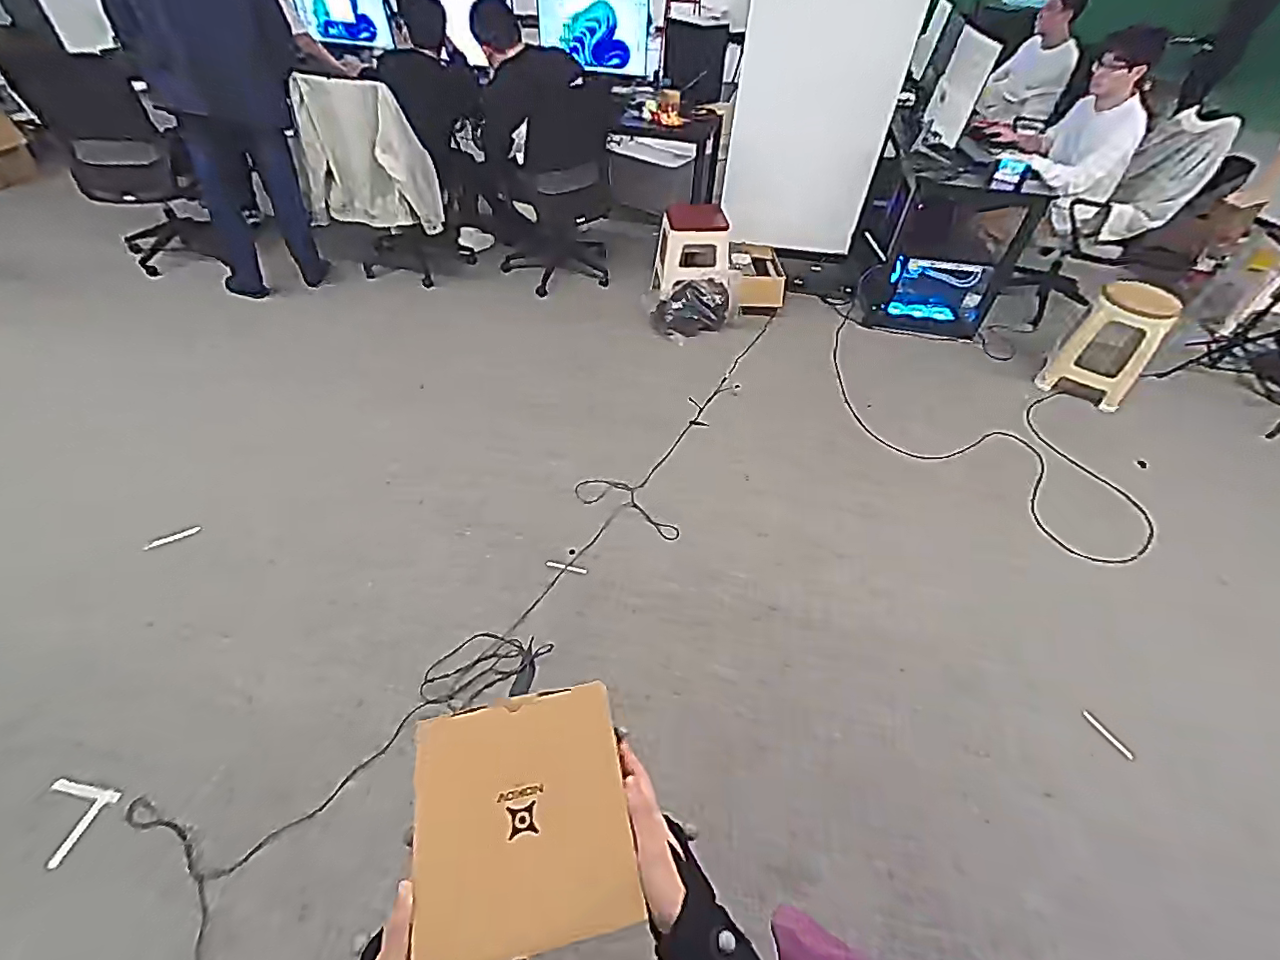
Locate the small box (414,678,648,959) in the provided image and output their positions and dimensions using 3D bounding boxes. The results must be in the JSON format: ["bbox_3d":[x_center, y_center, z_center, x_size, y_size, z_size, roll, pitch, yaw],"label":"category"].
[{"bbox_3d":[-0.093,0.306,0.484,0.168,0.176,0.179,-10,52,-11],"label":"small box"}]
